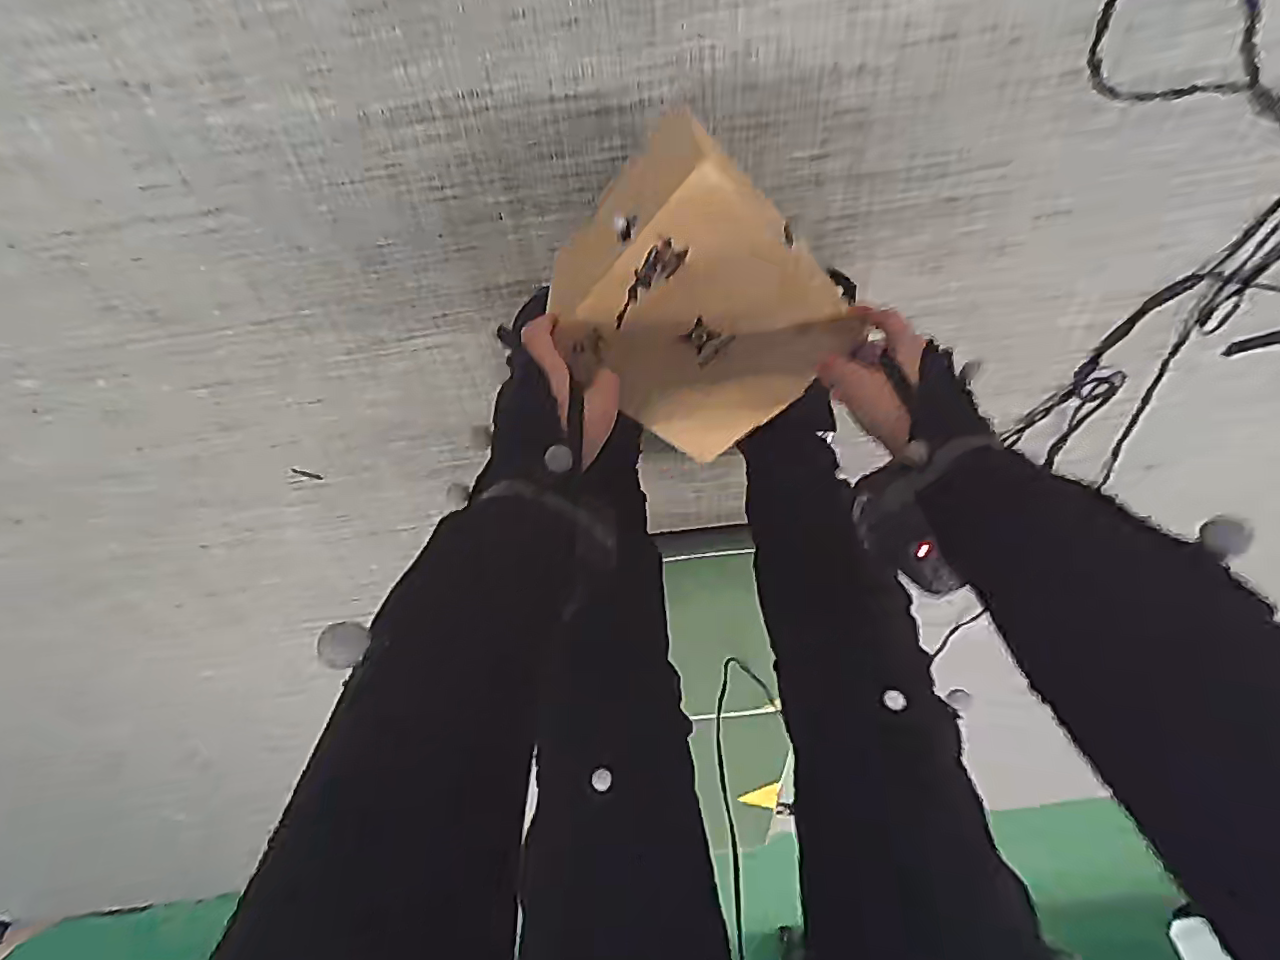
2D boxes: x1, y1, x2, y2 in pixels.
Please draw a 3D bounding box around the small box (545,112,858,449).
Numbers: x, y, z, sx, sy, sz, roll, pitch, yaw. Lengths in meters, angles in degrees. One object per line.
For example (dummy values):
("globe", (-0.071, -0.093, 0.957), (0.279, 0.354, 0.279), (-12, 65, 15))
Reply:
("small box", (0.043, -0.165, 0.453), (0.179, 0.176, 0.168), (31, 124, -30))
